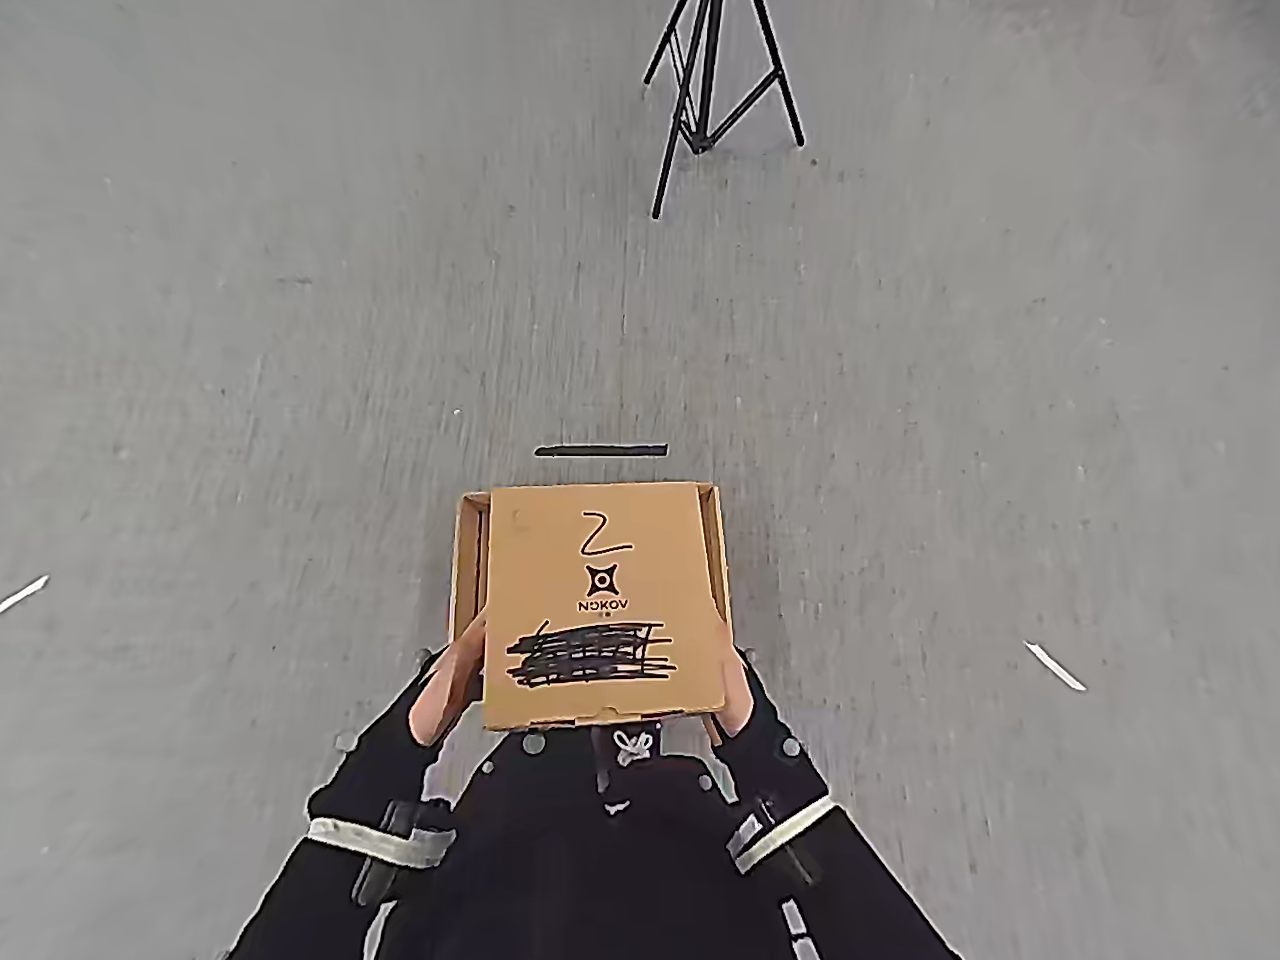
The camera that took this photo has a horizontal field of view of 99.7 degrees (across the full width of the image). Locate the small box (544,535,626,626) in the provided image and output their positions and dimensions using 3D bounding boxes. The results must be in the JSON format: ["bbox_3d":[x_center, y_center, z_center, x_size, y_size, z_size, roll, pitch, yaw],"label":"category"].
[{"bbox_3d":[-0.126,0.240,1.270,0.168,0.176,0.179,-8,73,-1],"label":"small box"}]
